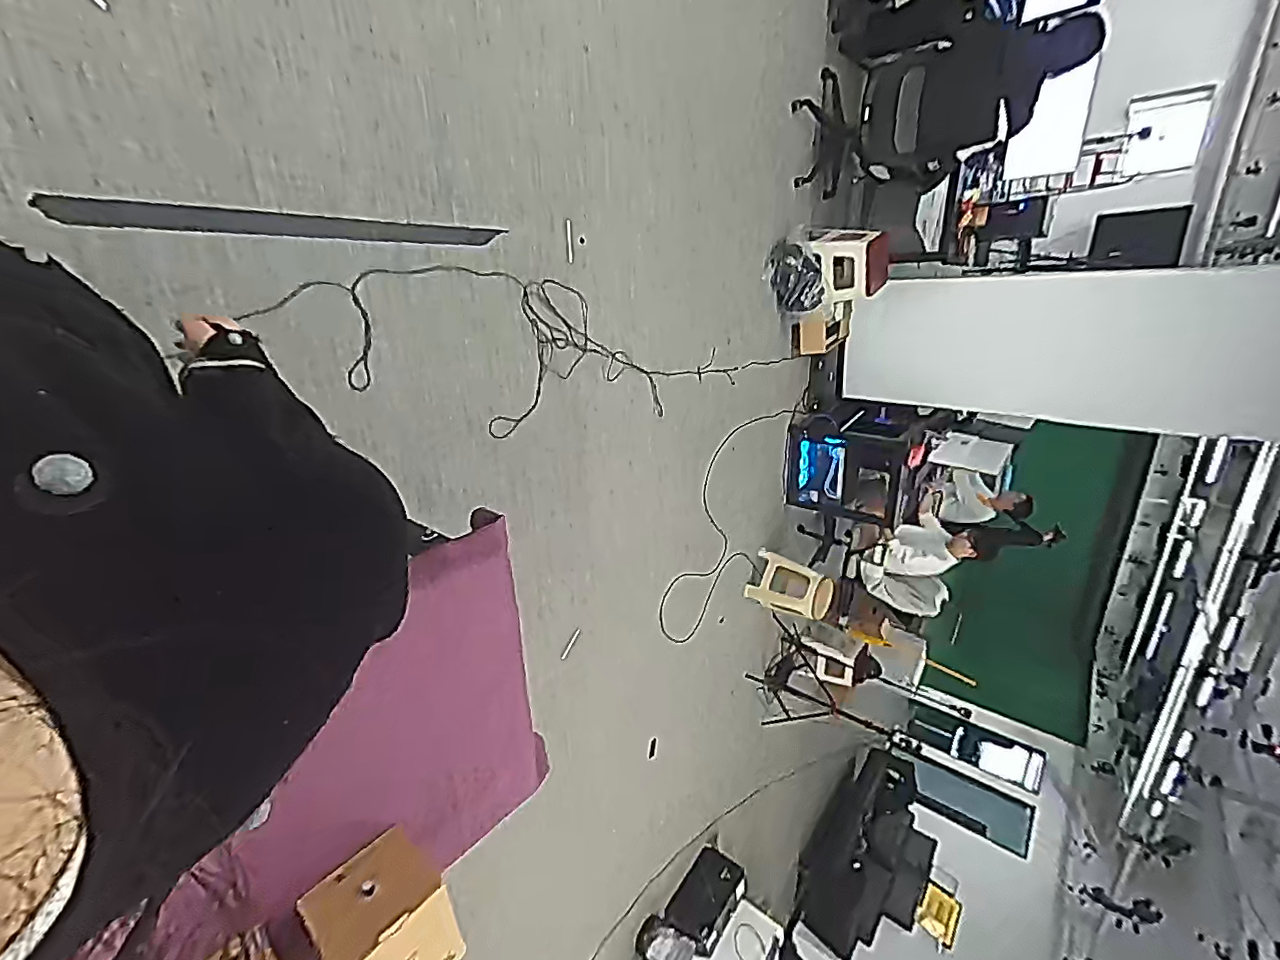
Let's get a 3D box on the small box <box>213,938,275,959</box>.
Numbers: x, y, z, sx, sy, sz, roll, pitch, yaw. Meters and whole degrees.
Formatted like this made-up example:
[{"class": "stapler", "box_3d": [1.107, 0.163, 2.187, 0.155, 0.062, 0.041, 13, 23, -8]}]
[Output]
[{"class": "small box", "box_3d": [-0.557, 0.769, 0.715, 0.168, 0.176, 0.179, -19, 115, -47]}]
